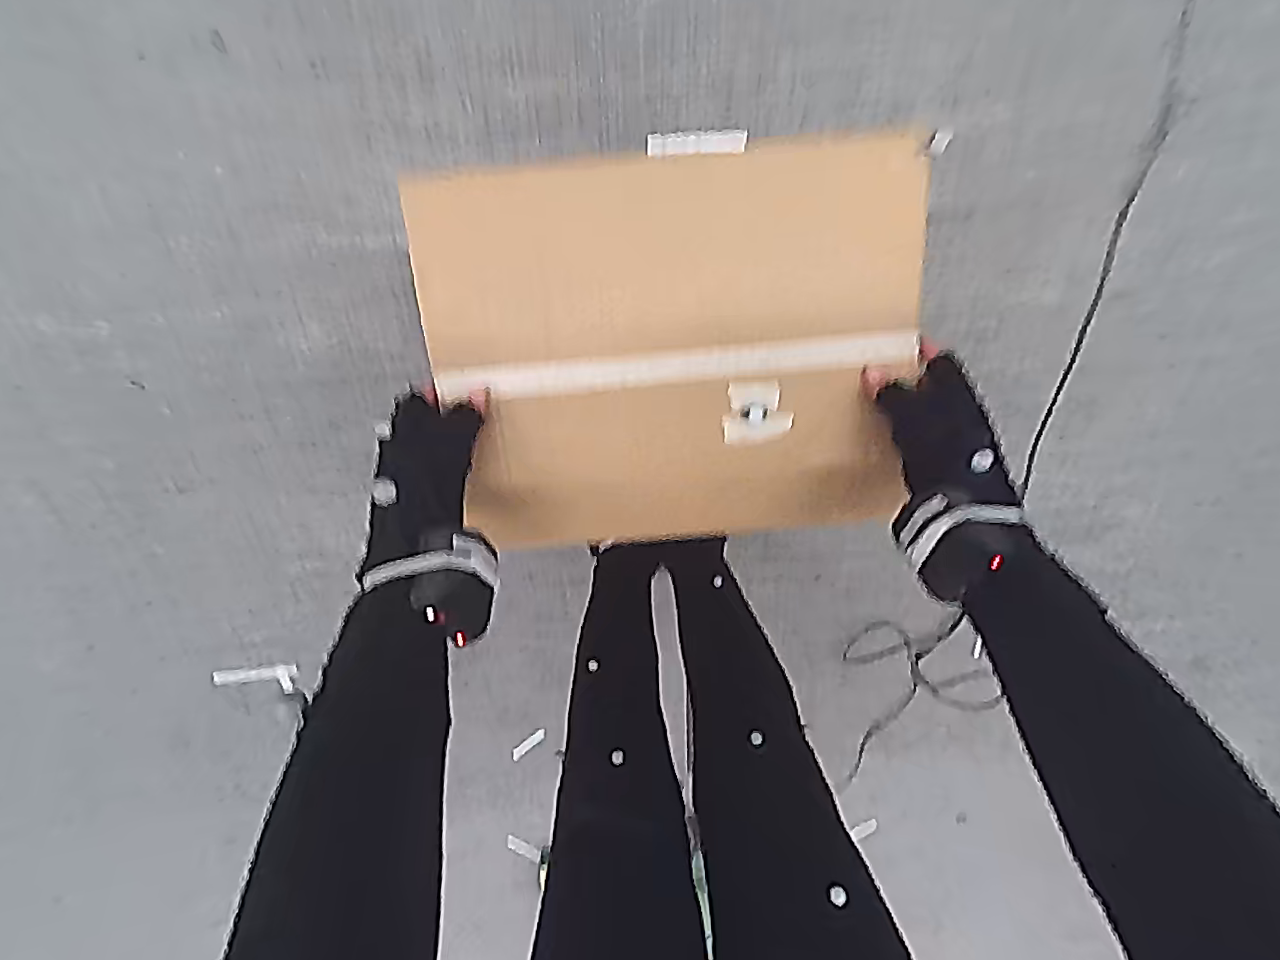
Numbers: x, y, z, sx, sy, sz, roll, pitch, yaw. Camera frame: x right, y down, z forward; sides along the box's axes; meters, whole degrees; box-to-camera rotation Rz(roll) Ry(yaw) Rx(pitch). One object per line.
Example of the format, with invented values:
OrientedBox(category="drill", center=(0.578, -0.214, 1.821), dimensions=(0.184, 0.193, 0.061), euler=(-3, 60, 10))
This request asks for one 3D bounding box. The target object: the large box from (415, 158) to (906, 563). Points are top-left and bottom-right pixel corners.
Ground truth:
OrientedBox(category="large box", center=(0.027, -0.126, 0.613), dimensions=(0.408, 0.320, 0.320), euler=(-5, 106, 1))
